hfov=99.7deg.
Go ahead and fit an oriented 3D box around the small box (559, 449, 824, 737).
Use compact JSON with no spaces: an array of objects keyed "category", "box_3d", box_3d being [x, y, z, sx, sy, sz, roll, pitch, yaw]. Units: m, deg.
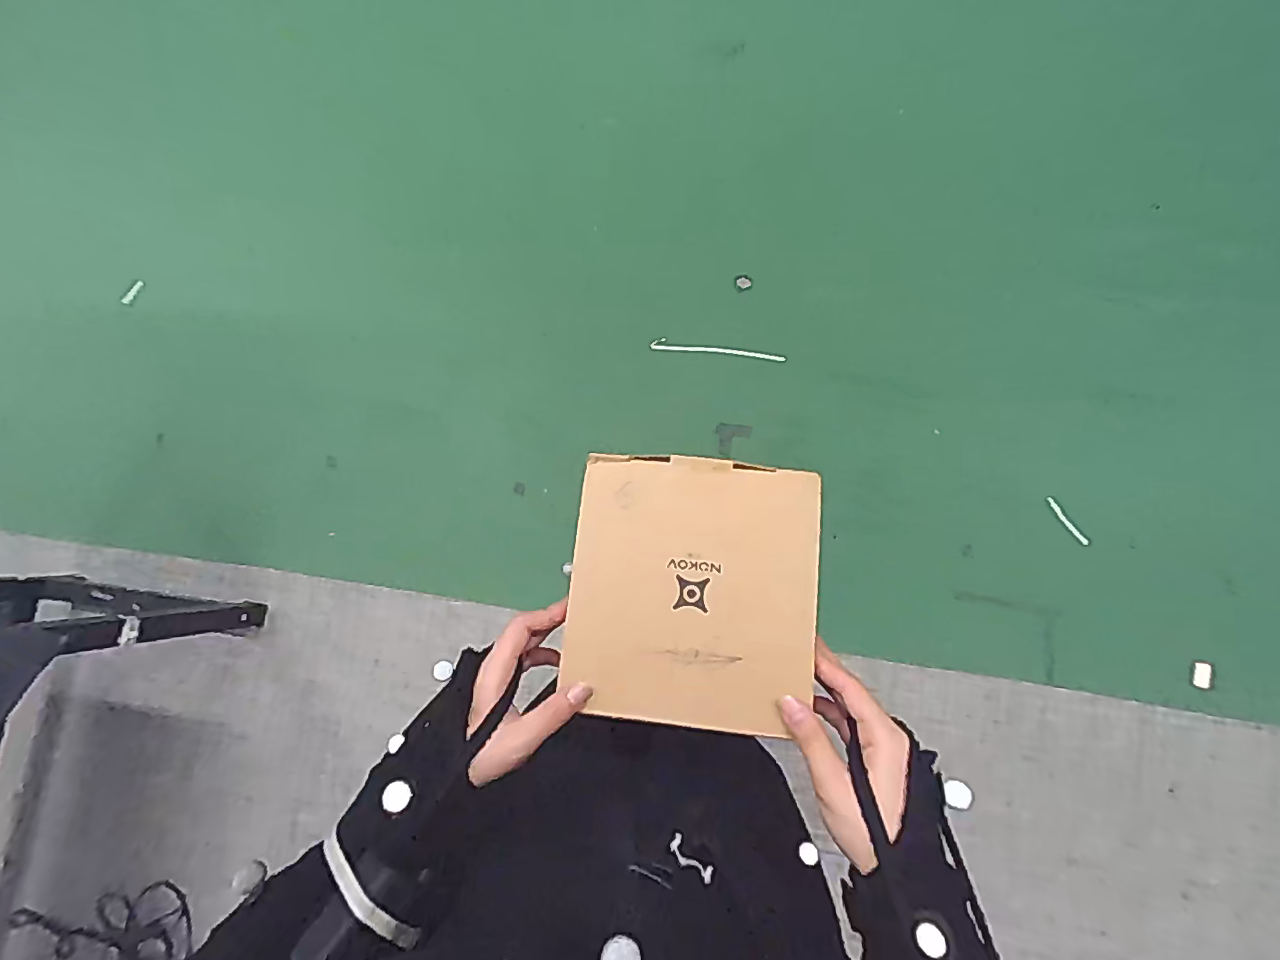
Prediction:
[{"category":"small box","box_3d":[0.041,0.087,0.441,0.168,0.176,0.179,6,79,5]}]
